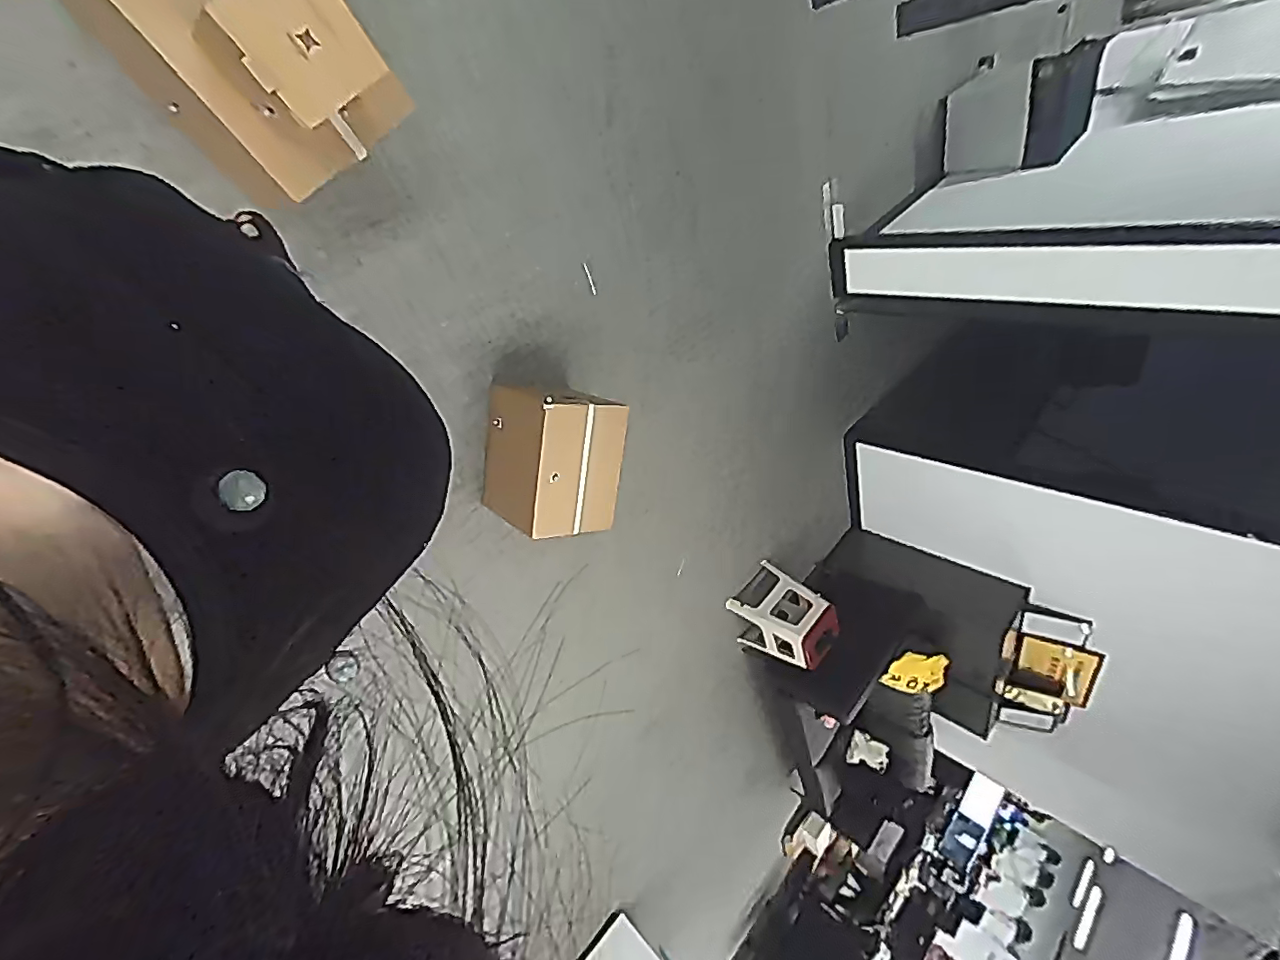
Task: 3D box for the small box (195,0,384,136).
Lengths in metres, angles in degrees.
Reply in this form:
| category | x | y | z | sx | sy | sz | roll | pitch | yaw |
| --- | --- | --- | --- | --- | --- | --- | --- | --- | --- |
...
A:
| category | x | y | z | sx | sy | sz | roll | pitch | yaw |
| --- | --- | --- | --- | --- | --- | --- | --- | --- | --- |
| small box | -0.545 | -0.667 | 0.838 | 0.179 | 0.176 | 0.168 | -51 | 135 | -16 |

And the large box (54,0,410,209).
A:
| category | x | y | z | sx | sy | sz | roll | pitch | yaw |
| --- | --- | --- | --- | --- | --- | --- | --- | --- | --- |
| large box | -0.721 | -0.773 | 0.980 | 0.320 | 0.320 | 0.408 | -53 | 134 | -17 |
